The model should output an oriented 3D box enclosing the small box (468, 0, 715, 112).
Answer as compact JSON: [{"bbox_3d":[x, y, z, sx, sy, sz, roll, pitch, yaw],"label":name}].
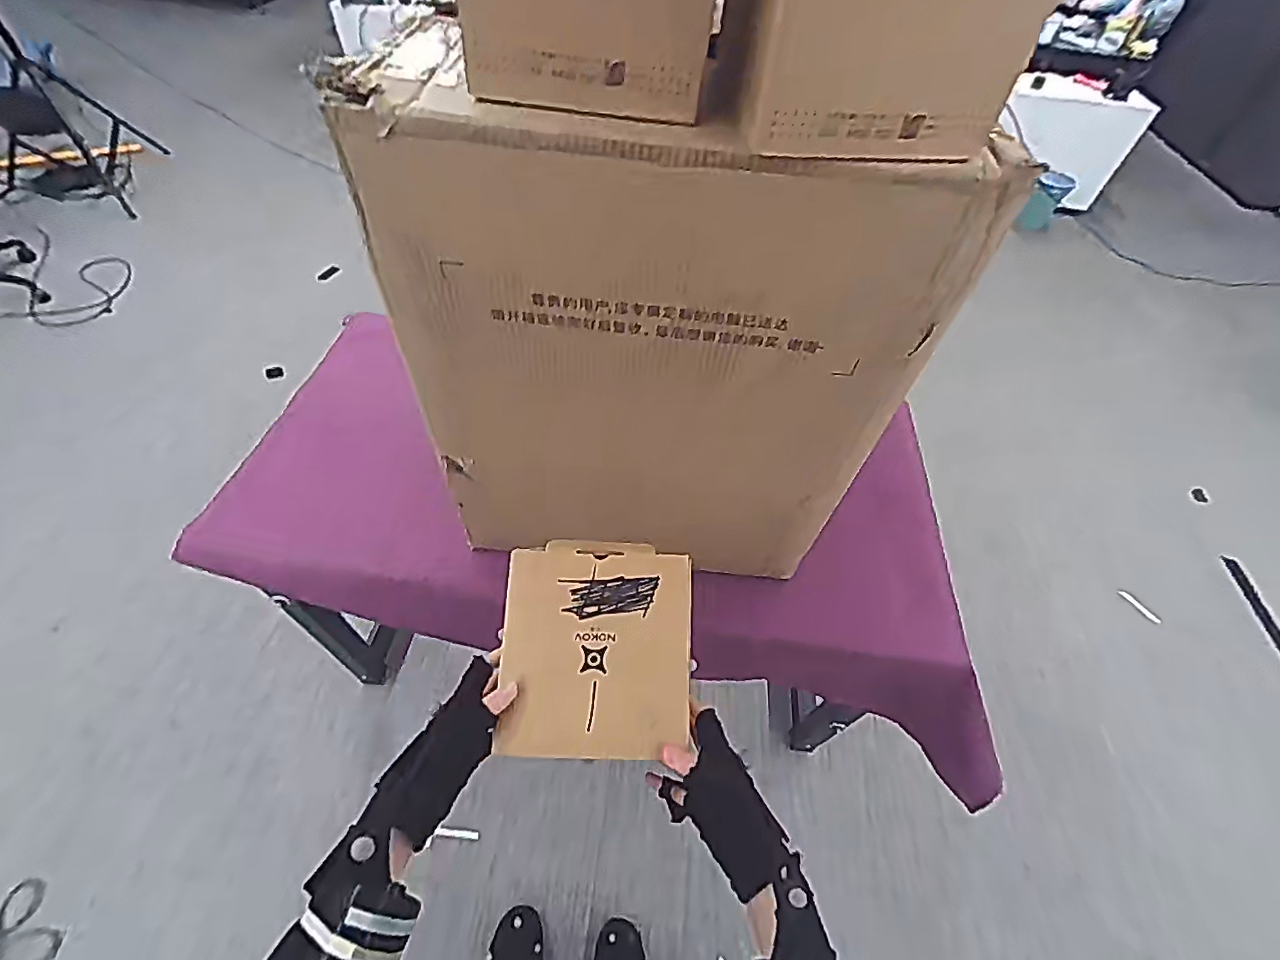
[{"bbox_3d":[-0.027,-0.387,0.381,0.168,0.176,0.179,6,50,-4],"label":"small box"}]

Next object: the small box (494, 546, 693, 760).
[{"bbox_3d":[-0.039,0.174,0.547,0.168,0.176,0.179,2,69,-1],"label":"small box"}]

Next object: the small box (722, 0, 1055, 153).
[{"bbox_3d":[0.159,-0.346,0.363,0.168,0.176,0.179,-2,51,-5],"label":"small box"}]
